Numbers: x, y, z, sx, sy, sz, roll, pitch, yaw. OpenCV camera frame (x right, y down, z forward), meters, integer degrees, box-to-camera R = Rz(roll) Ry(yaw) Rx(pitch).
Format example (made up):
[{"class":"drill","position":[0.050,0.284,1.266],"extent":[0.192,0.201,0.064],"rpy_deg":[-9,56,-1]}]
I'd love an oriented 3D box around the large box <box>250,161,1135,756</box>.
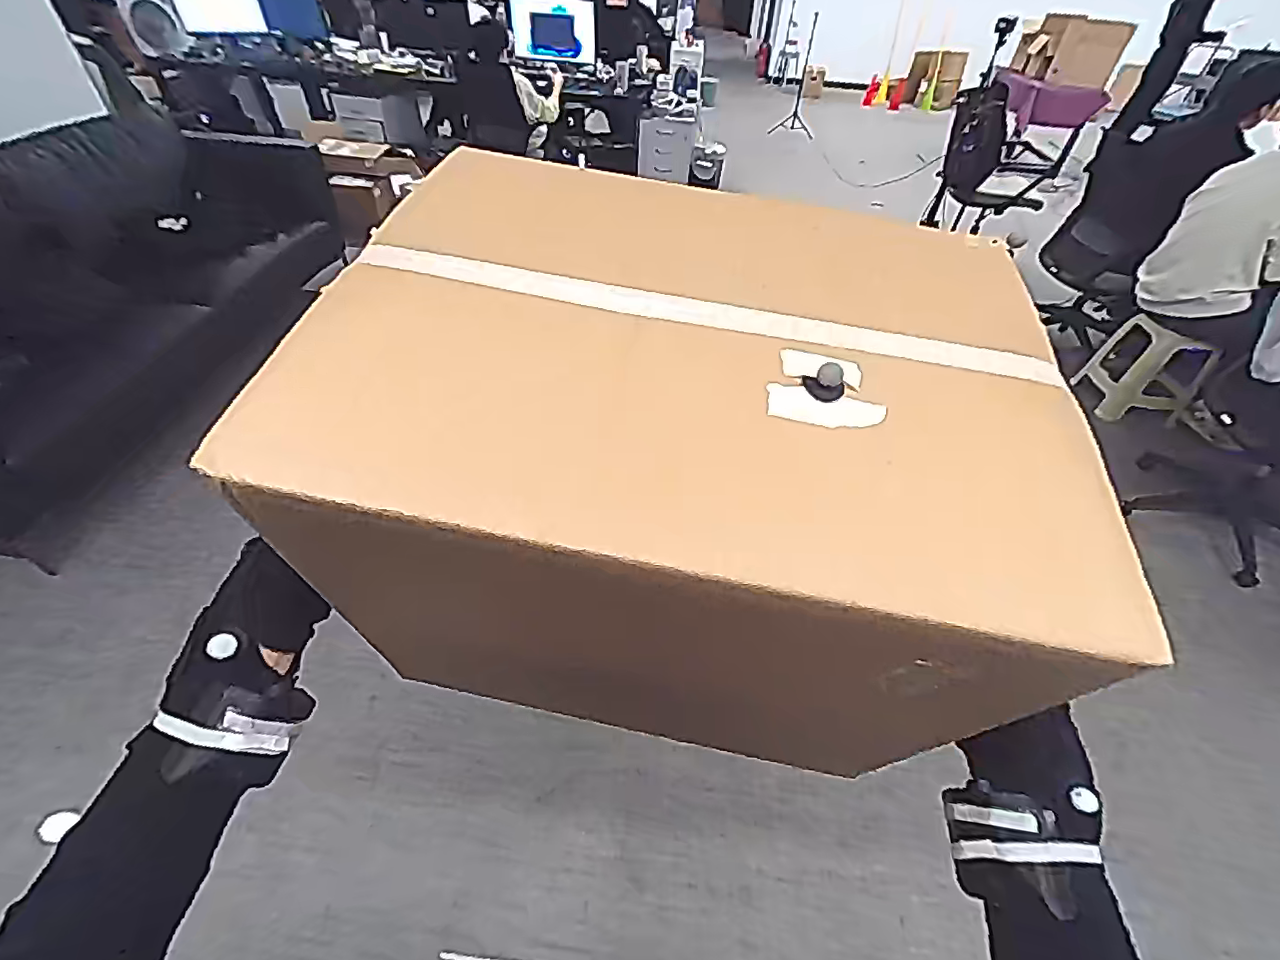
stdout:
[{"class":"large box","position":[0.029,-0.002,0.441],"extent":[0.408,0.320,0.320],"rpy_deg":[12,55,2]}]
